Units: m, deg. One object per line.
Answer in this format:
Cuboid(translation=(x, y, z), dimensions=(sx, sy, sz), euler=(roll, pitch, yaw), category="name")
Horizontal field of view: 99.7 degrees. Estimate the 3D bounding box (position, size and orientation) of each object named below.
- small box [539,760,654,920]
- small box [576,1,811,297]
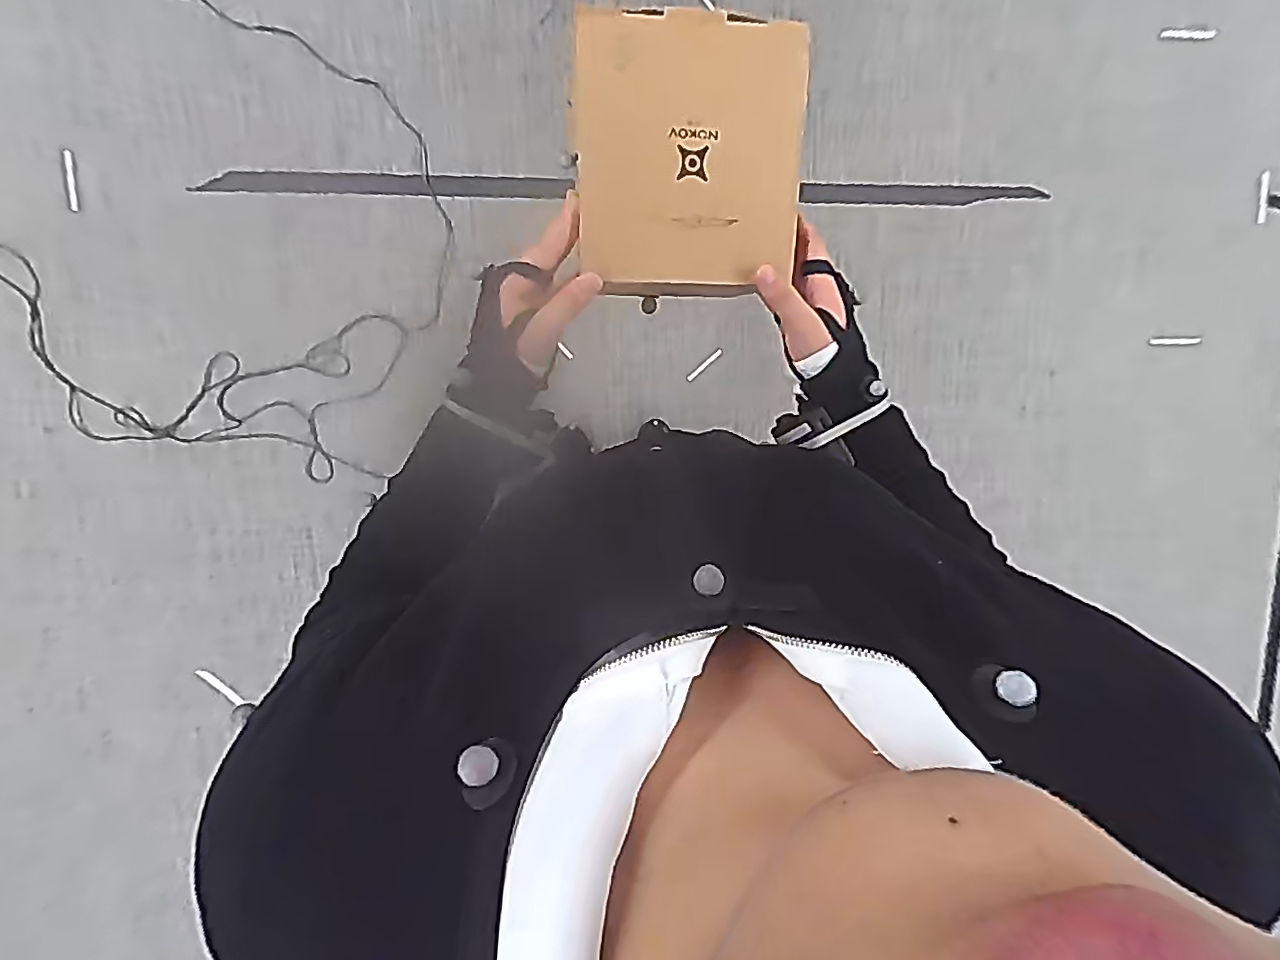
Cuboid(translation=(-0.075, 0.645, 0.989), dimensions=(0.179, 0.176, 0.168), euler=(-9, 94, -2), category="small box")
Cuboid(translation=(0.029, -0.258, 0.468), dimensions=(0.168, 0.176, 0.179), euler=(-1, 106, -7), category="small box")
